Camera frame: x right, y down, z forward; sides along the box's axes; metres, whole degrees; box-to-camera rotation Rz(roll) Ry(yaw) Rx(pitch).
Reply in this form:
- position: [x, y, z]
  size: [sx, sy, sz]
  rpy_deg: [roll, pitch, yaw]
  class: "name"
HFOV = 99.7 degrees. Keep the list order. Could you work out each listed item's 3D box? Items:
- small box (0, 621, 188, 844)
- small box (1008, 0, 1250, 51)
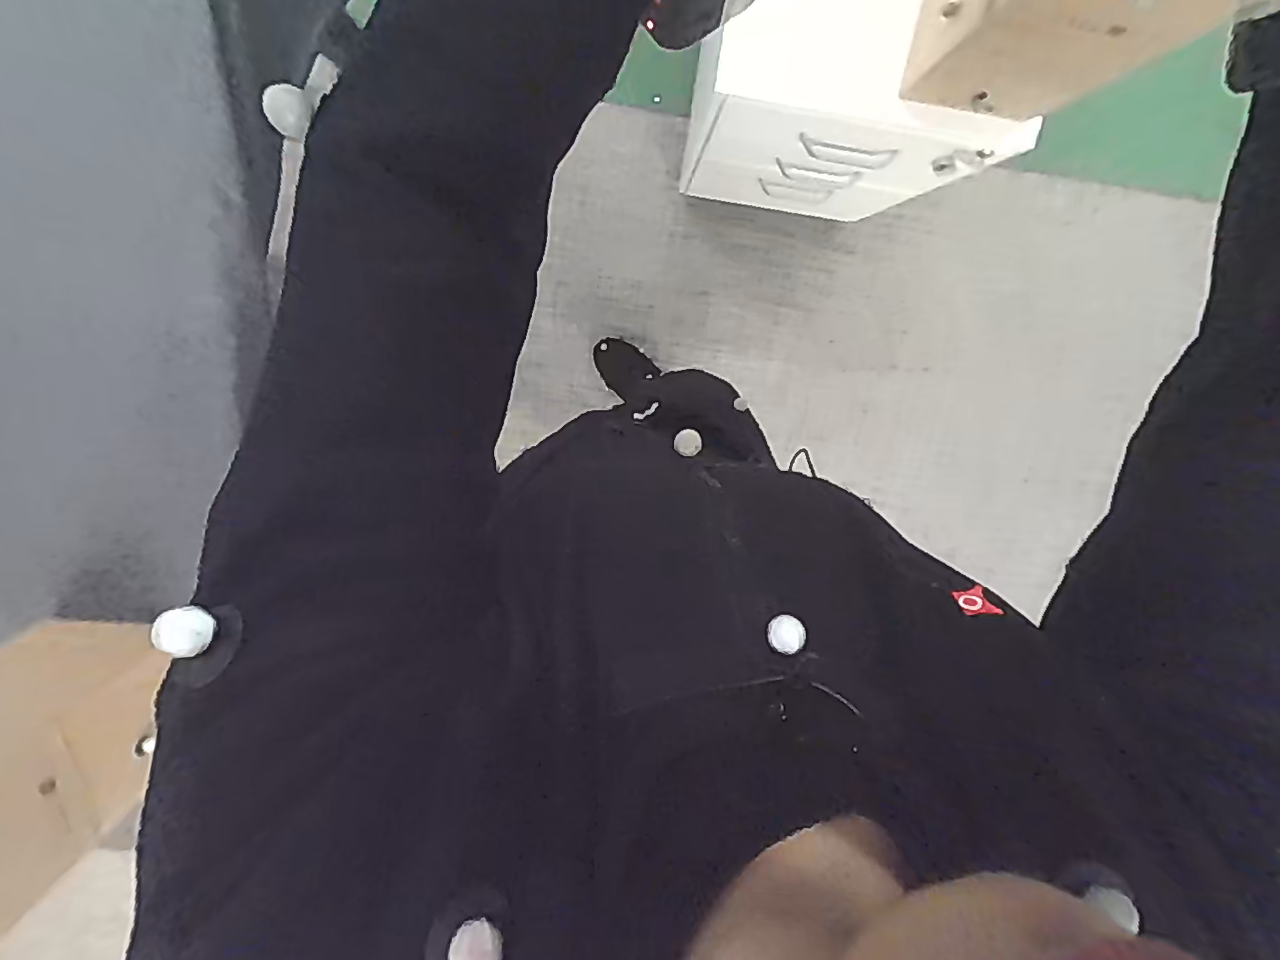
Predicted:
- position: [-0.666, 0.276, 0.618]
  size: [0.179, 0.176, 0.168]
  rpy_deg: [3, 107, -2]
  class: "small box"
- position: [0.402, -0.453, 0.385]
  size: [0.168, 0.176, 0.179]
  rpy_deg: [9, 106, -3]
  class: "small box"
